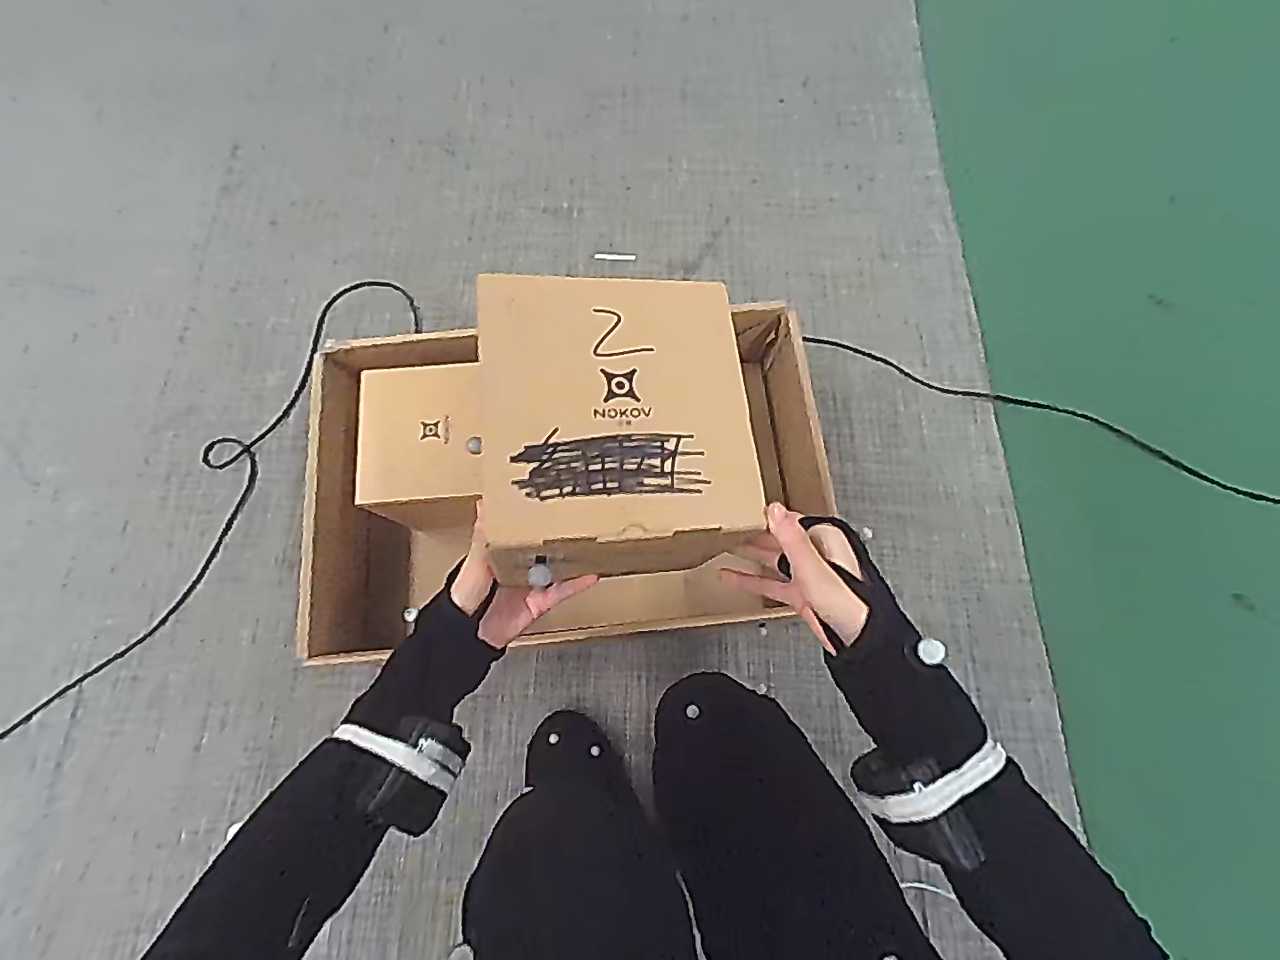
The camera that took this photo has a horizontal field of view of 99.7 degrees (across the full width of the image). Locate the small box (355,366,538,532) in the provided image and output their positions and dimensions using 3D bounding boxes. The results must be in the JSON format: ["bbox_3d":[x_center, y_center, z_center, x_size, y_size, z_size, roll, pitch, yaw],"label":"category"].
[{"bbox_3d":[-0.237,-0.031,0.701,0.179,0.176,0.168,-5,75,-2],"label":"small box"}]
